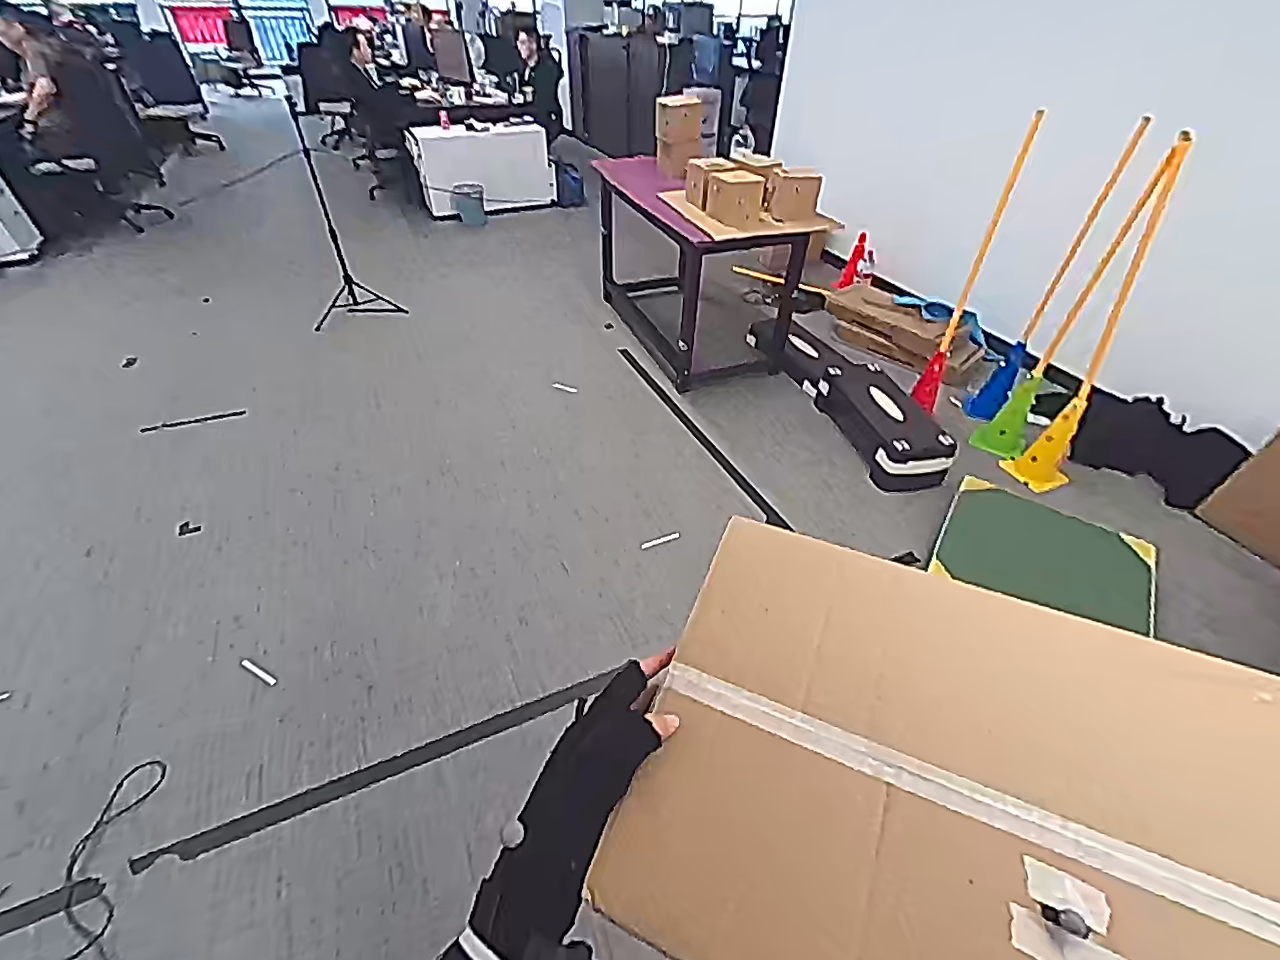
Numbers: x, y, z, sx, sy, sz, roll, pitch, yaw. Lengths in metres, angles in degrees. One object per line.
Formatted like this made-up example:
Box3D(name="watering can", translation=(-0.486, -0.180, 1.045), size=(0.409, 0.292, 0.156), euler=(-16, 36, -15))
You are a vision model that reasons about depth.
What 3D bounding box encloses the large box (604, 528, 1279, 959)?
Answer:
Box3D(name="large box", translation=(0.229, 0.297, 0.497), size=(0.408, 0.320, 0.320), euler=(17, 59, 20))
